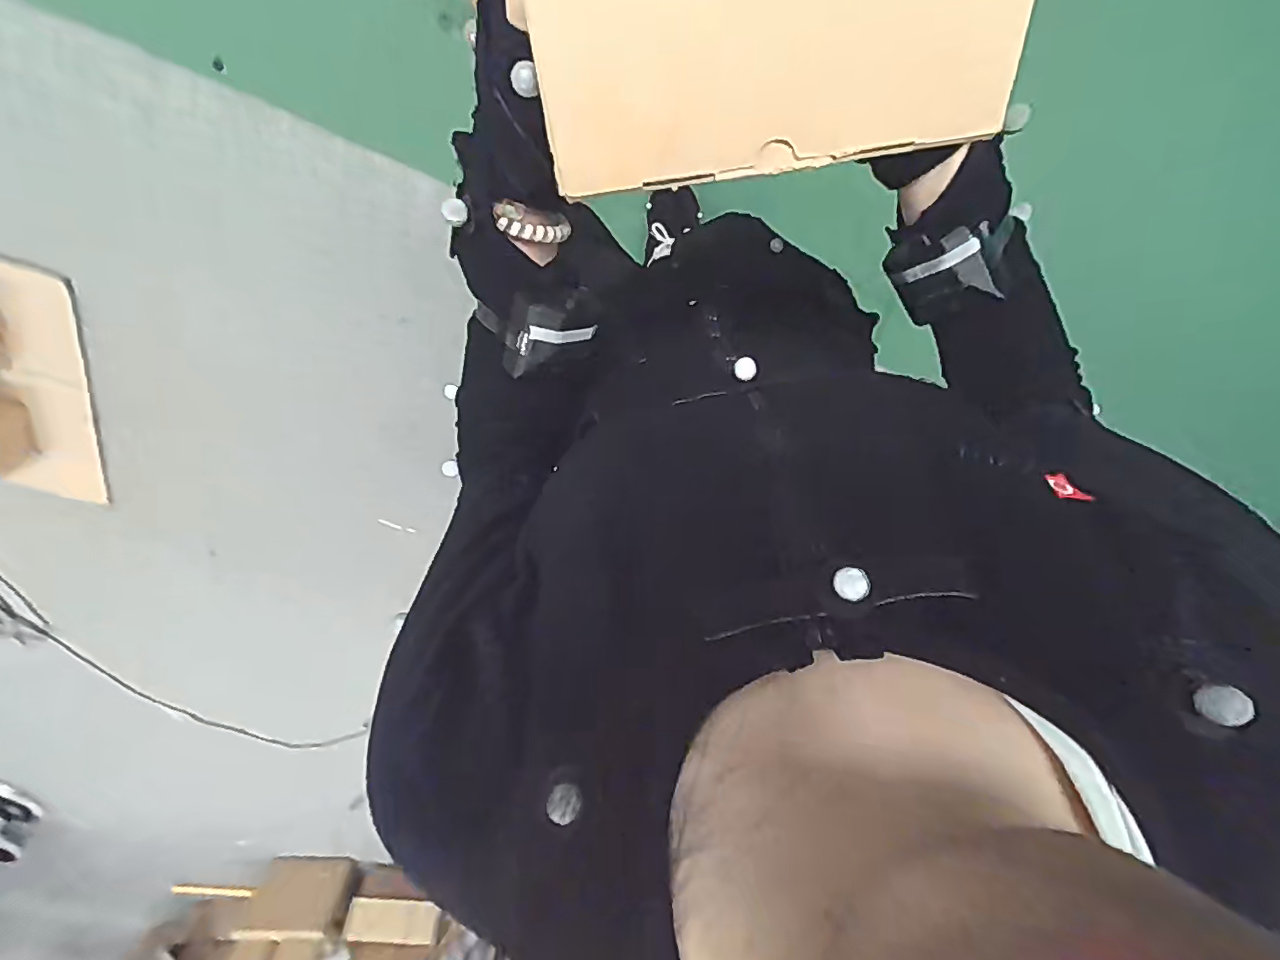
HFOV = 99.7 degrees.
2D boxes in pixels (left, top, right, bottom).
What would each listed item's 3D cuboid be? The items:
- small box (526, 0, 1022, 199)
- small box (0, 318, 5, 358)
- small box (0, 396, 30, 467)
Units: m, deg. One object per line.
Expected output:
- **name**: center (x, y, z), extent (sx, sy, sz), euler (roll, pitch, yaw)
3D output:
- **small box**: center (0.037, -0.237, 0.217), extent (0.168, 0.176, 0.179), euler (-7, 130, 5)
- **small box**: center (-1.696, -0.363, 1.282), extent (0.179, 0.176, 0.168), euler (20, 119, -13)
- **small box**: center (-1.773, -0.129, 1.415), extent (0.179, 0.176, 0.168), euler (15, 119, -9)
